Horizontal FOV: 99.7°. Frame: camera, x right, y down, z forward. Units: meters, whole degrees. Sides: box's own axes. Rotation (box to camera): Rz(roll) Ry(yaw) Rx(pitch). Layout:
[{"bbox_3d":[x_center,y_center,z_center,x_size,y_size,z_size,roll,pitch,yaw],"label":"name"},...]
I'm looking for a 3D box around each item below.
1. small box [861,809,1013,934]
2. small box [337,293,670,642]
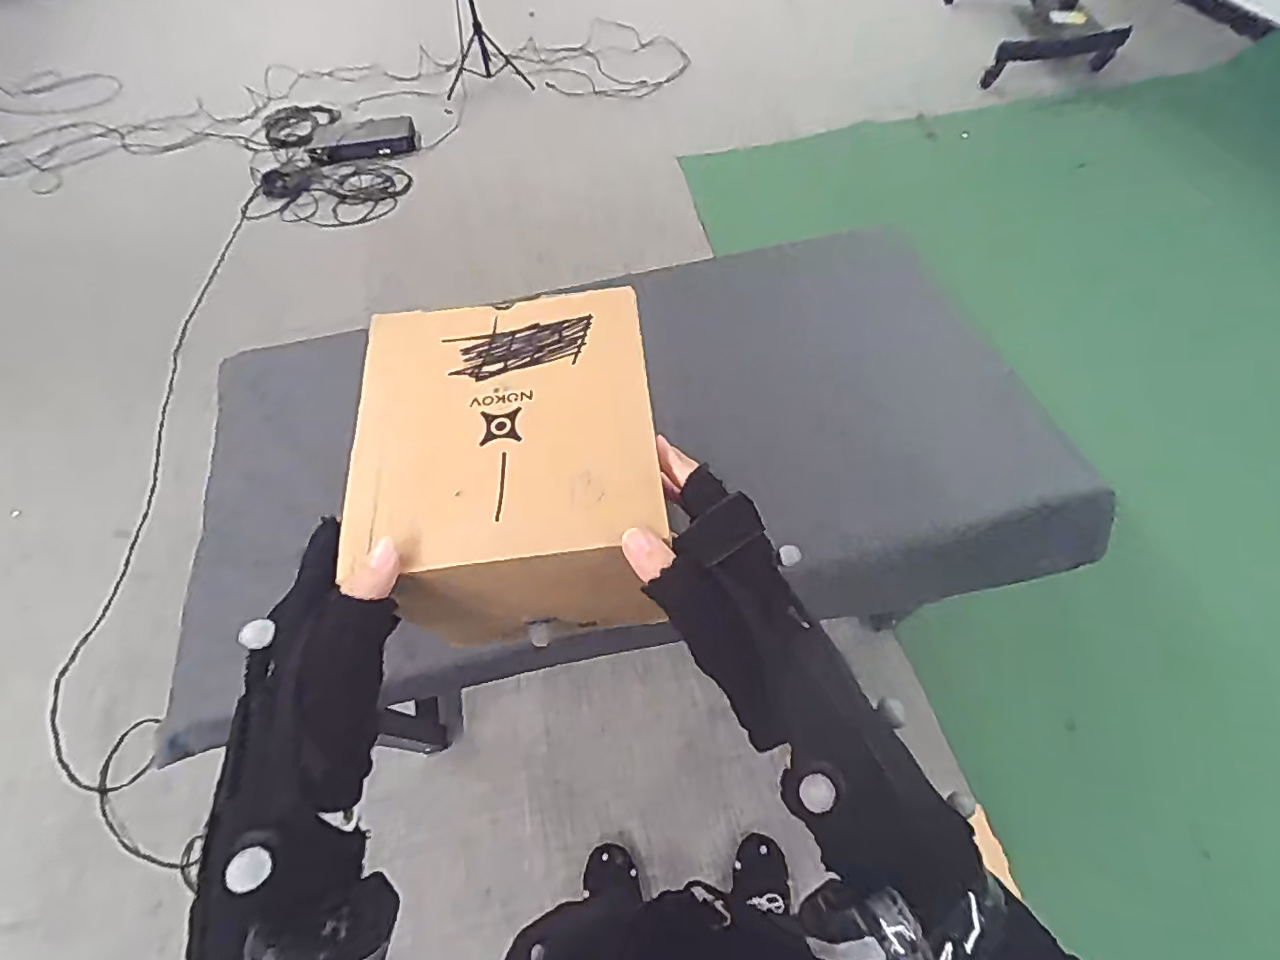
[{"bbox_3d":[0.565,0.752,1.057,0.179,0.176,0.168,-10,59,-2],"label":"small box"},{"bbox_3d":[-0.071,0.001,0.373,0.168,0.176,0.179,-6,63,0],"label":"small box"}]
